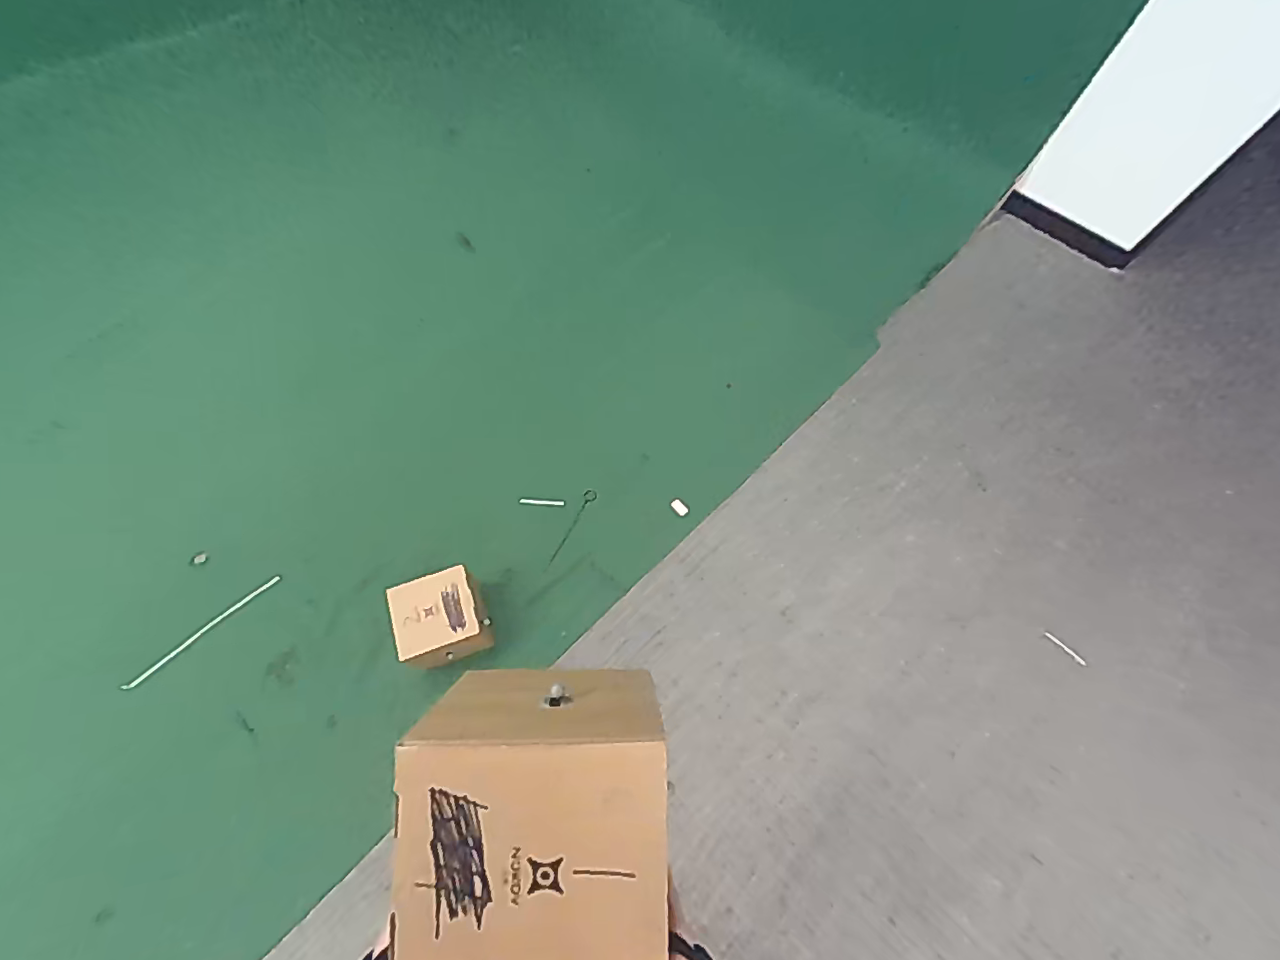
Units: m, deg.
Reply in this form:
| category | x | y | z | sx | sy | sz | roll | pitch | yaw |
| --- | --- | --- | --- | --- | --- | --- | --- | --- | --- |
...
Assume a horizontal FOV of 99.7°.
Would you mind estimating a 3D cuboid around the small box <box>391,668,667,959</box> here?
| category | x | y | z | sx | sy | sz | roll | pitch | yaw |
| --- | --- | --- | --- | --- | --- | --- | --- | --- | --- |
| small box | -0.073 | 0.255 | 0.429 | 0.179 | 0.176 | 0.168 | 1 | 85 | -3 |
